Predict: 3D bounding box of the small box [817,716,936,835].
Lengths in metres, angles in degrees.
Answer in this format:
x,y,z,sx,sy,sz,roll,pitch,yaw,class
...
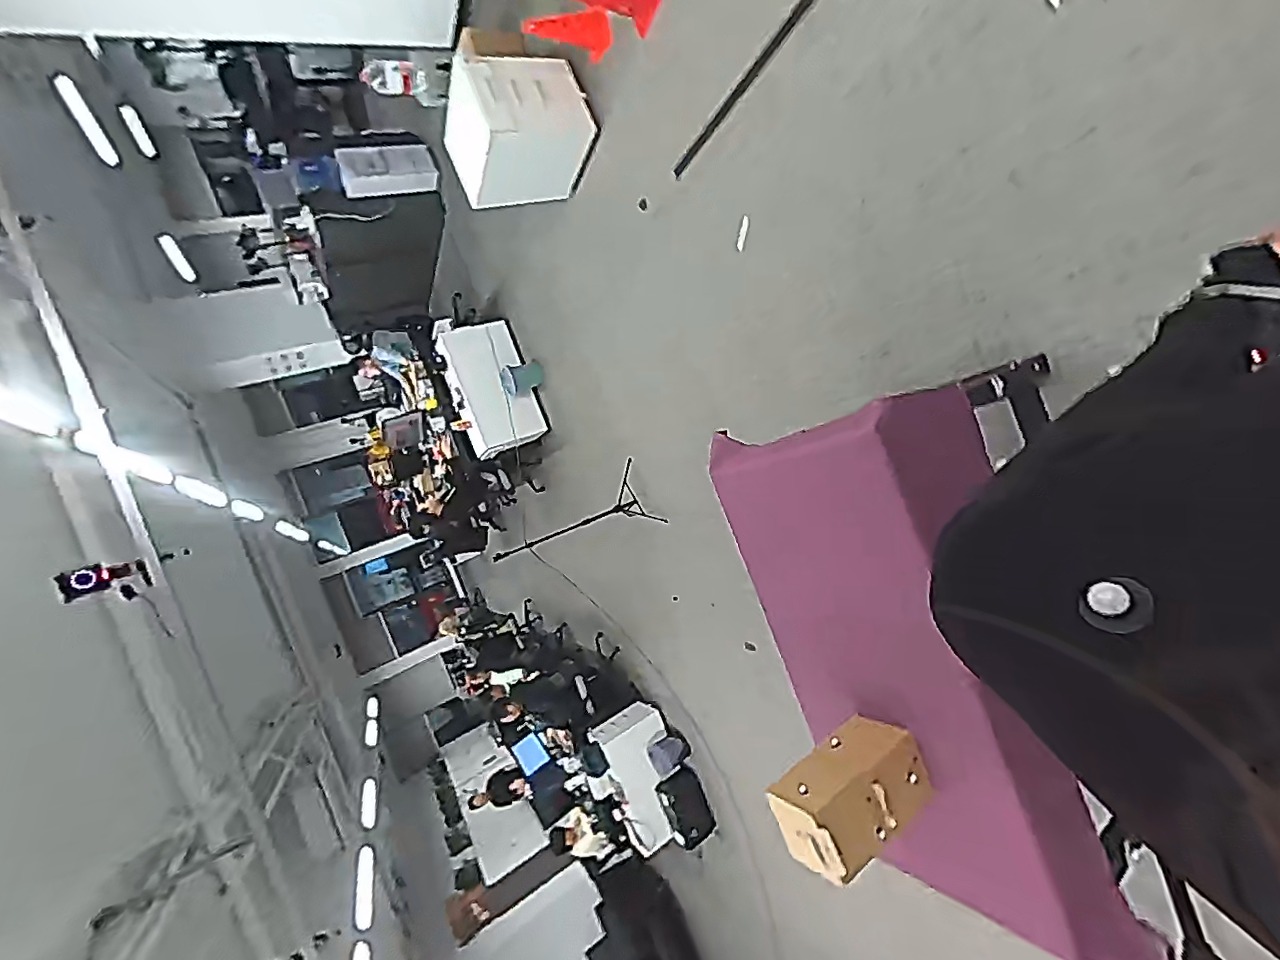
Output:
x,y,z,sx,sy,sz,roll,pitch,yaw,class
0.573,0.704,1.315,0.179,0.176,0.168,-20,93,63,small box

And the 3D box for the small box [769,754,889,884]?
x,y,z,sx,sy,sz,roll,pitch,yaw,class
0.438,0.762,1.241,0.168,0.176,0.179,67,154,3,small box
